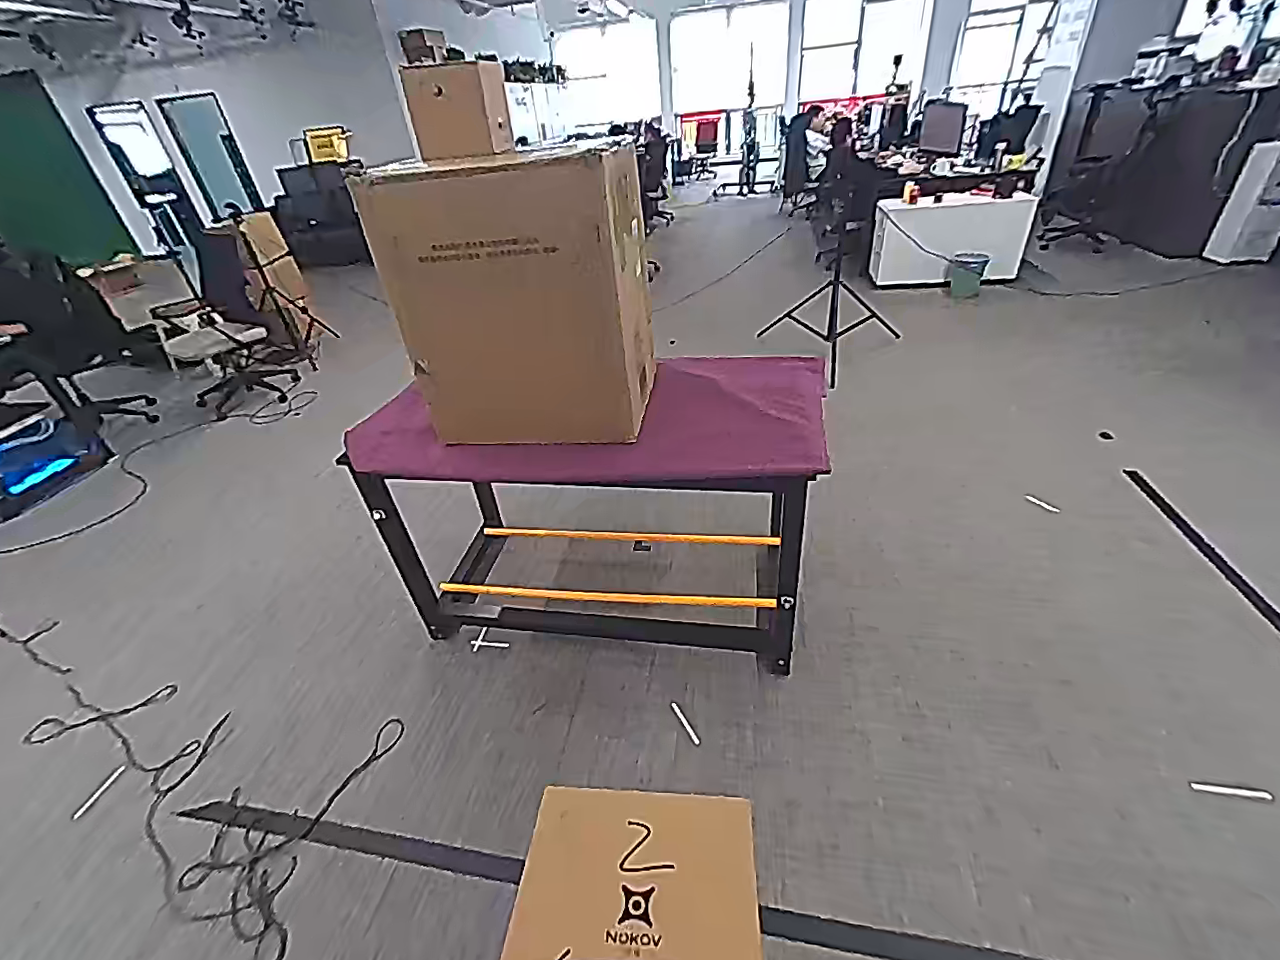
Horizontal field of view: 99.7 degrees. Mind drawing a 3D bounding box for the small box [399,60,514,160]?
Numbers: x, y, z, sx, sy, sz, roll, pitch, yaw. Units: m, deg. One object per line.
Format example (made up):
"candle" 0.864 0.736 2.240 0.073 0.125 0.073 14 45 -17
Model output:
"small box" -0.404 -0.830 1.221 0.179 0.176 0.168 0 36 7
